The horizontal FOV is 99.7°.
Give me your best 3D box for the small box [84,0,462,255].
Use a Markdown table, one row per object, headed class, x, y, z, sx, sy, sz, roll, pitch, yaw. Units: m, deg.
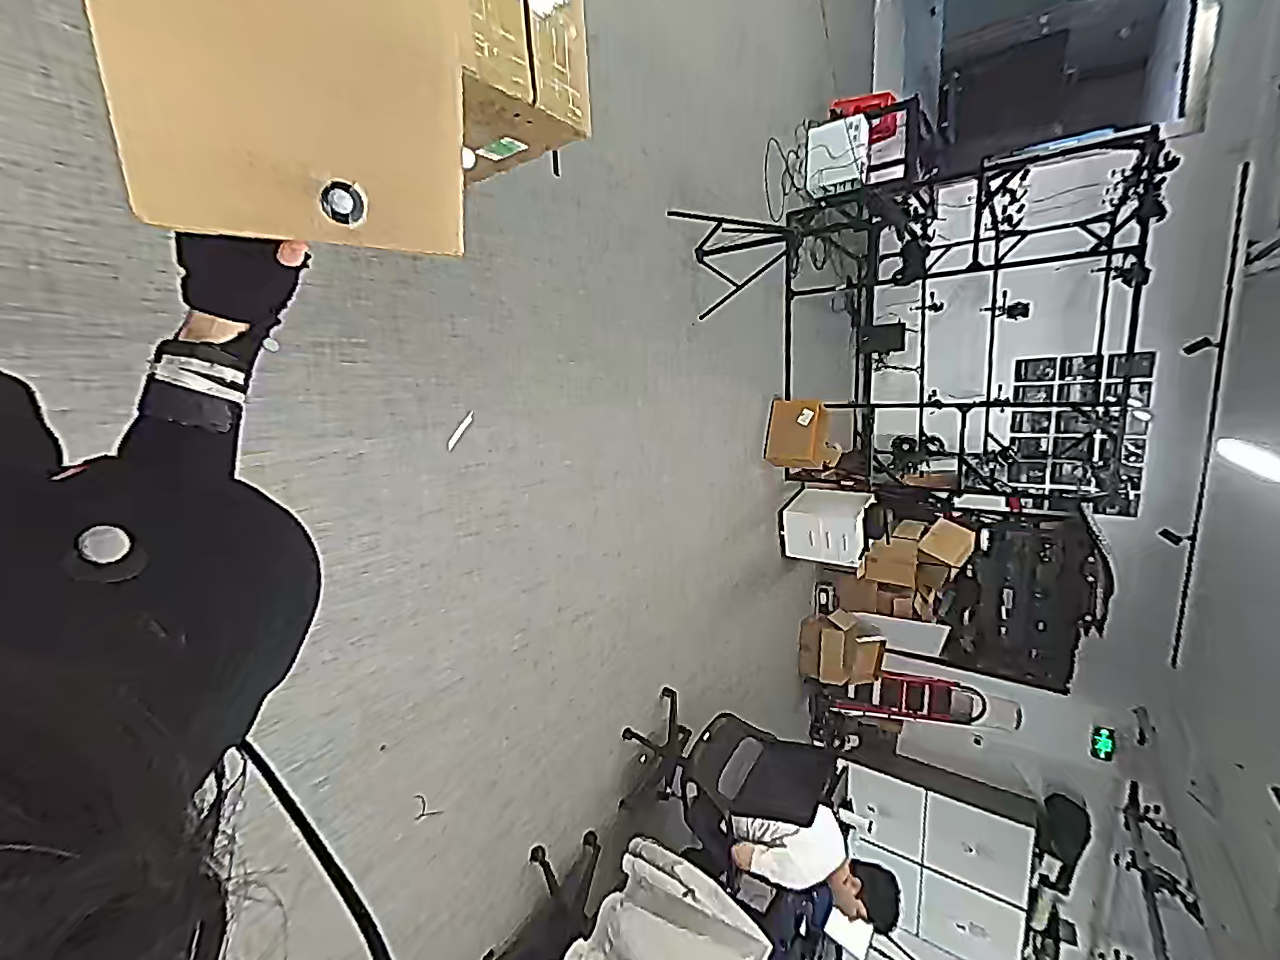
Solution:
| class | x | y | z | sx | sy | sz | roll | pitch | yaw |
| --- | --- | --- | --- | --- | --- | --- | --- | --- | --- |
| small box | -0.204 | -0.248 | 0.346 | 0.168 | 0.179 | 0.176 | -1 | 113 | -20 |
